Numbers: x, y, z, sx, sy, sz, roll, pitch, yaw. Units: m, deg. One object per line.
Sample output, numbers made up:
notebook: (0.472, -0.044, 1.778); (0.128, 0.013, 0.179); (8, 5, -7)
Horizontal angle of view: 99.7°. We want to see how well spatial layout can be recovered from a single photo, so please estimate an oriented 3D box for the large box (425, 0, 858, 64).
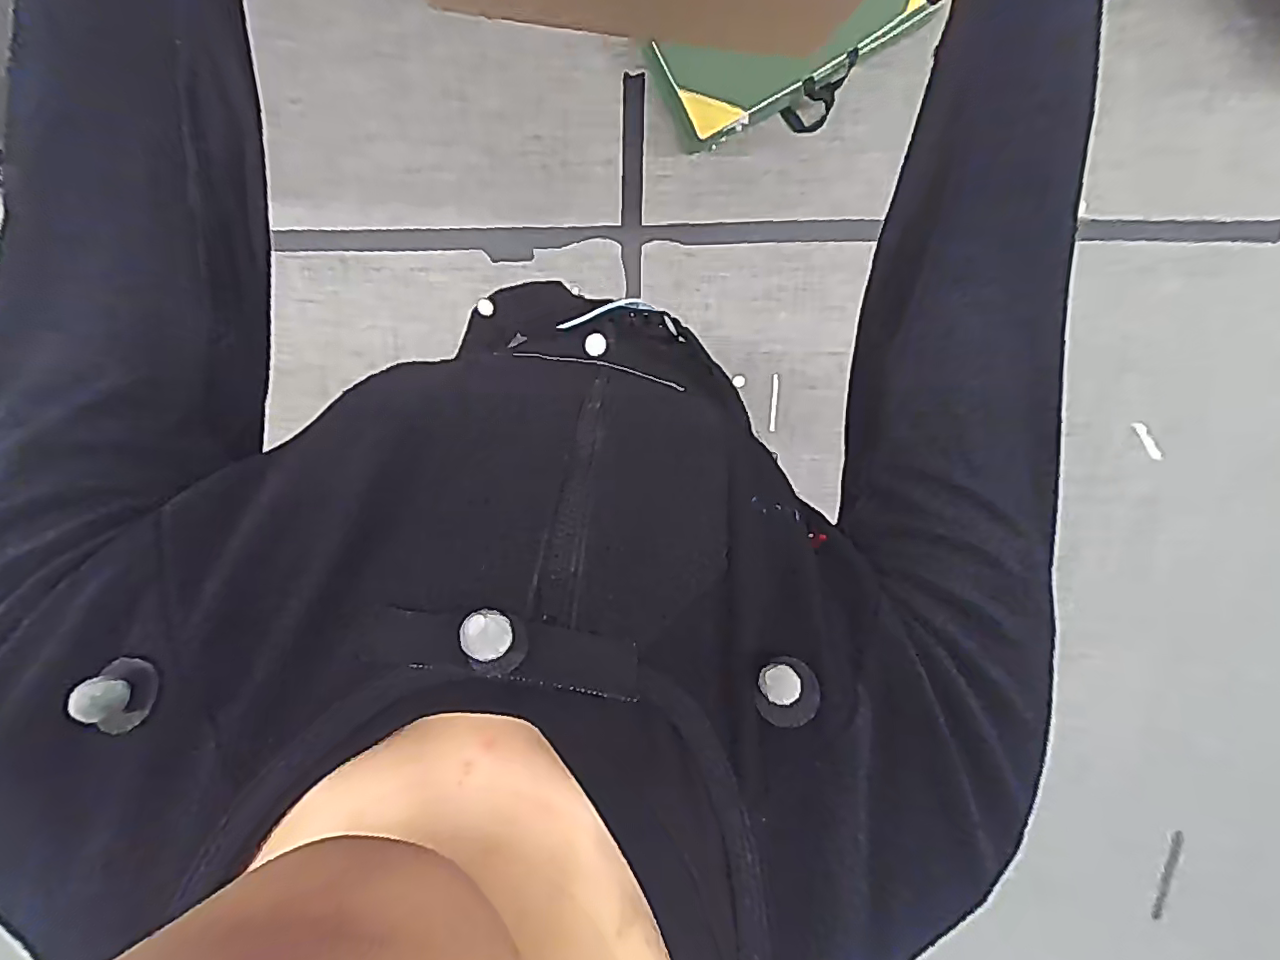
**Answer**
large box: (0.001, -0.551, 0.385); (0.408, 0.320, 0.320); (5, 112, -4)
